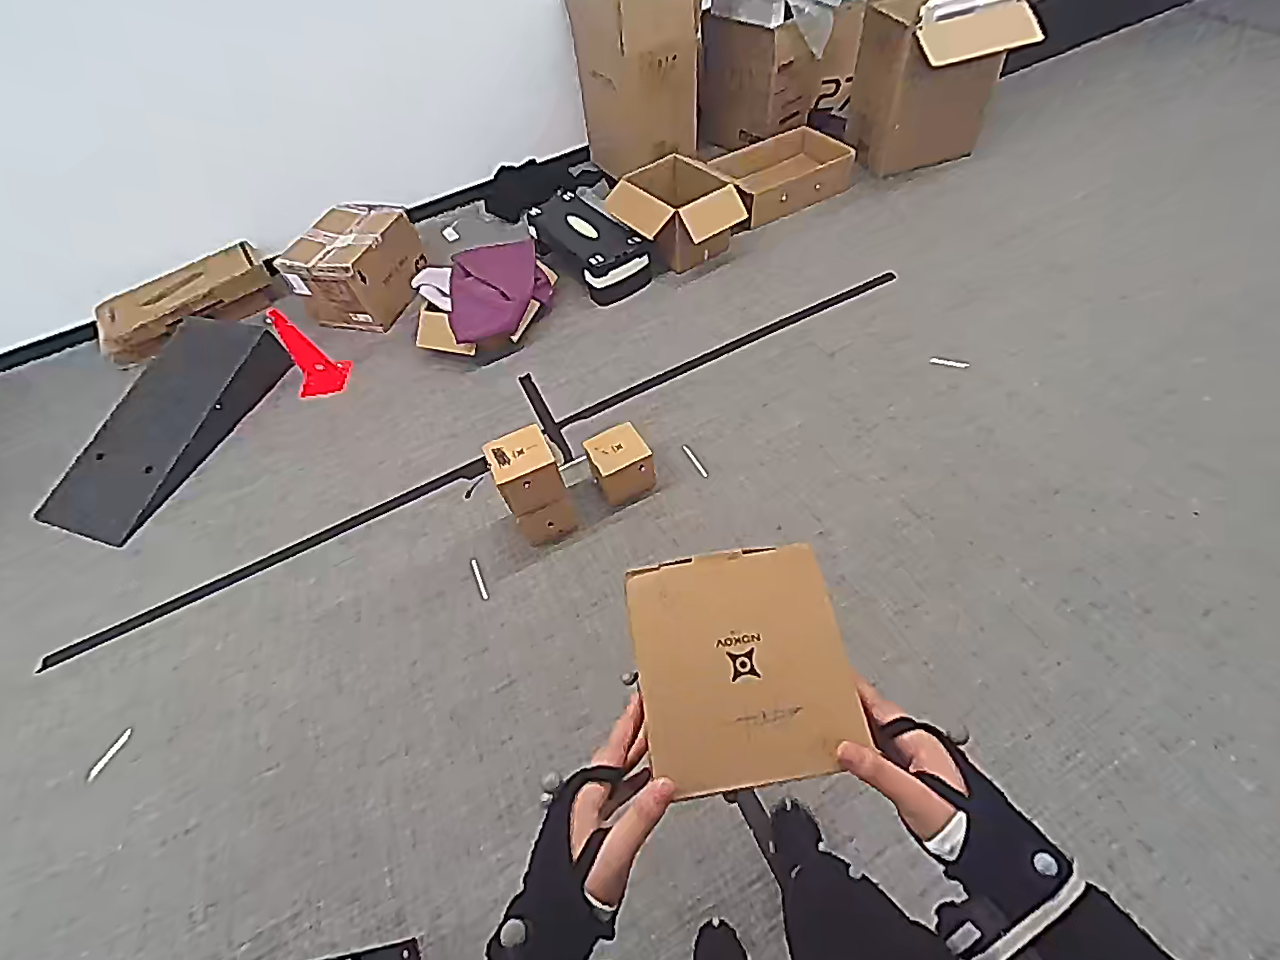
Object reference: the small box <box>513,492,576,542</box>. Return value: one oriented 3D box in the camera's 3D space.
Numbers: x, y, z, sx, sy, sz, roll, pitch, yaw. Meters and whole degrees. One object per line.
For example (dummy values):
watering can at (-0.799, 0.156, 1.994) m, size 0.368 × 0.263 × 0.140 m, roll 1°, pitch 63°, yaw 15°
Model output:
small box at (-0.316, 0.074, 1.713) m, size 0.168 × 0.176 × 0.179 m, roll -24°, pitch 55°, yaw -9°

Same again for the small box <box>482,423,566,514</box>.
small box at (-0.337, -0.028, 1.584) m, size 0.179 × 0.176 × 0.168 m, roll -24°, pitch 54°, yaw -10°

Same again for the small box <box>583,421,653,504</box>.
small box at (-0.066, -0.054, 1.769) m, size 0.179 × 0.176 × 0.168 m, roll -27°, pitch 55°, yaw -11°

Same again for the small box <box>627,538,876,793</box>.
small box at (0.079, 0.172, 0.494) m, size 0.168 × 0.176 × 0.179 m, roll -8°, pitch 63°, yaw -3°
